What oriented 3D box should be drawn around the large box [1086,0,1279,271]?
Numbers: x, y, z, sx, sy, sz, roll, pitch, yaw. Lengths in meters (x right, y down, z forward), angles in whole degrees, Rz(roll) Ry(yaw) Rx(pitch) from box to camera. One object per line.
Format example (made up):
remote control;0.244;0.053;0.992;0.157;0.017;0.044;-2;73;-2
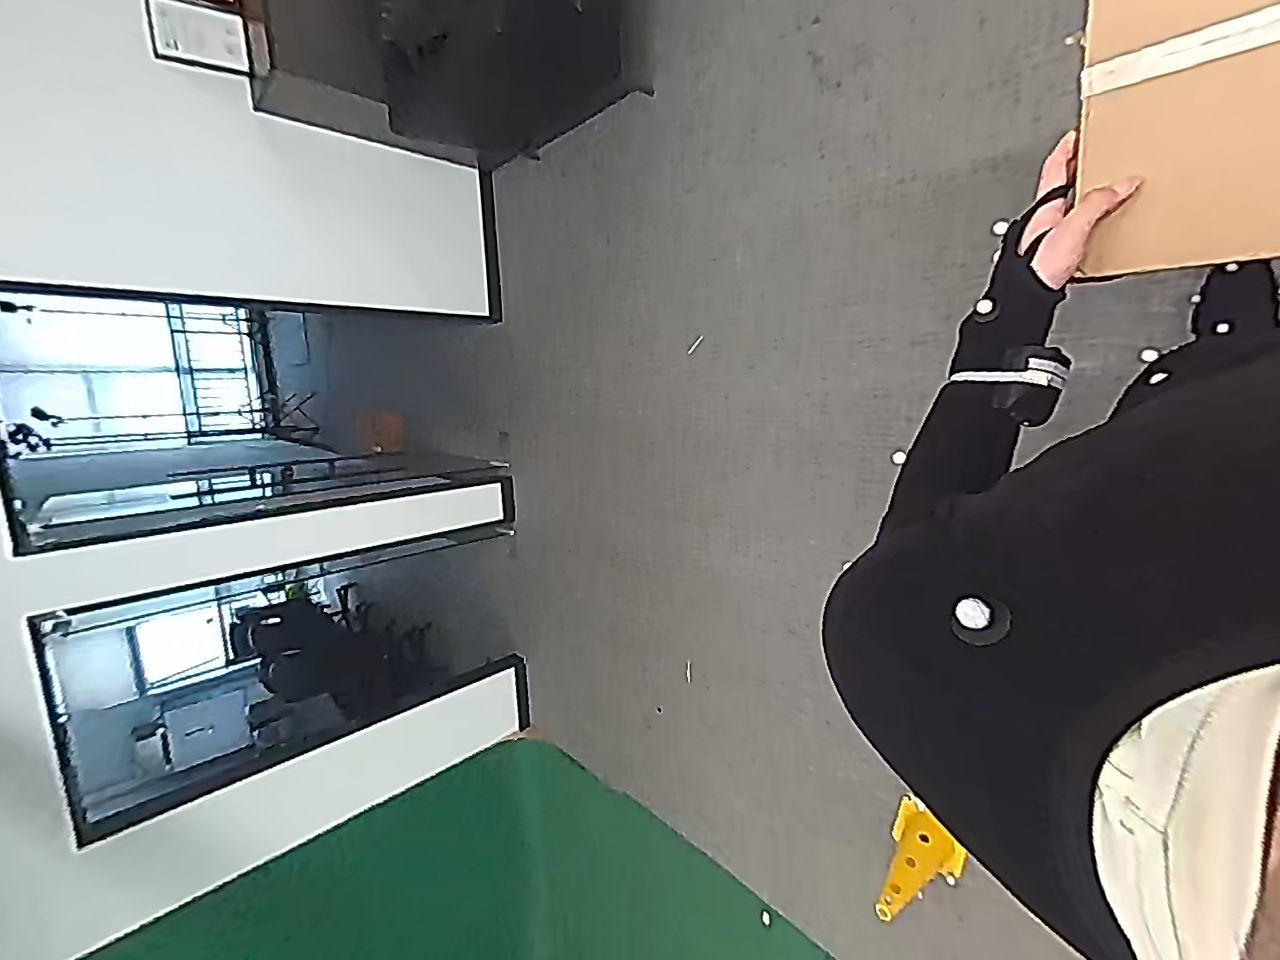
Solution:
large box;0.617;-0.368;0.400;0.408;0.320;0.320;9;119;46
